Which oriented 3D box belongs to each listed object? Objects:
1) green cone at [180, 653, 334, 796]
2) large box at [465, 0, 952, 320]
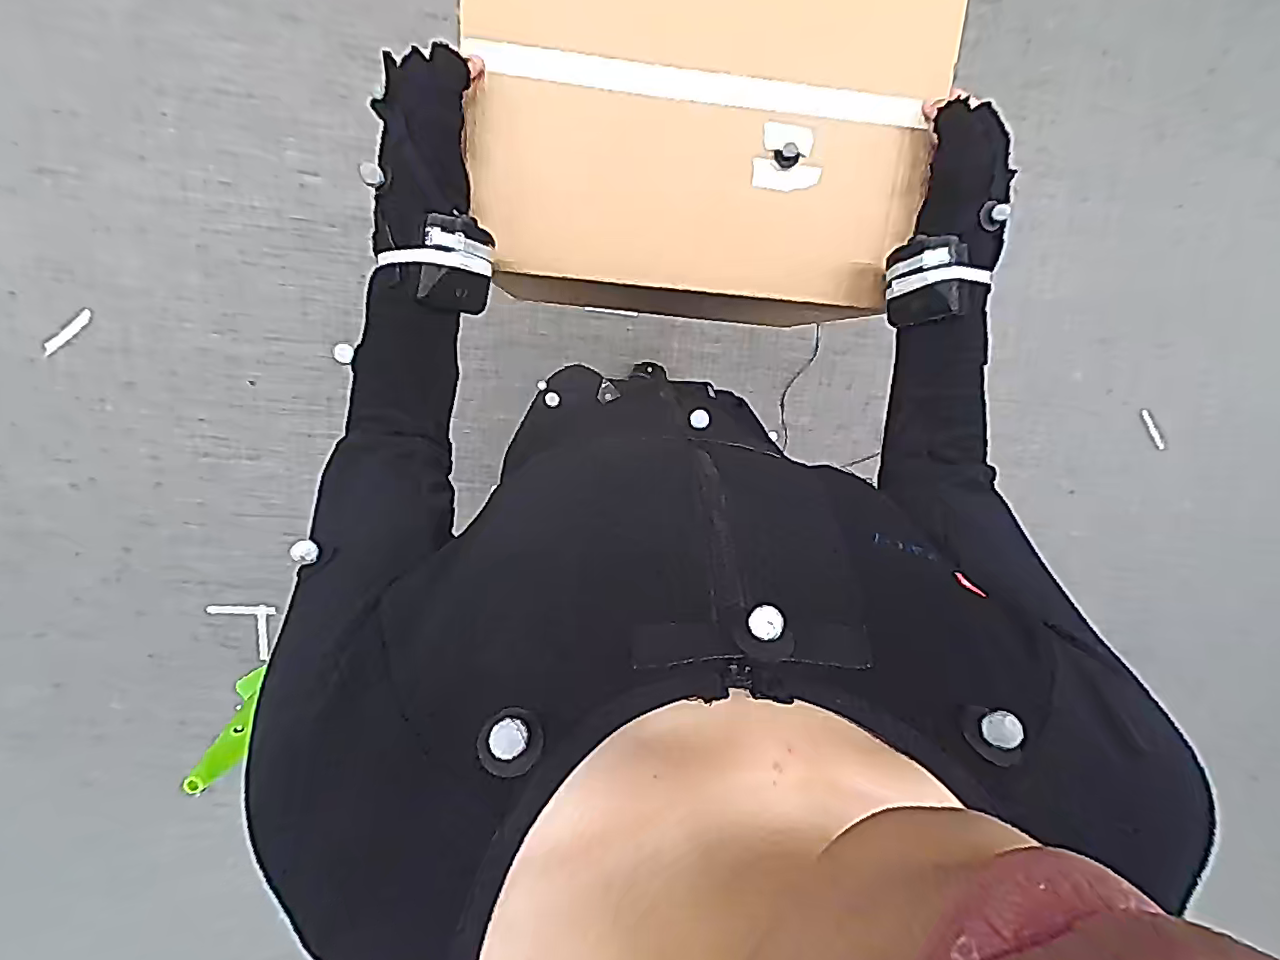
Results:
[{"bbox_3d":[-0.971,0.624,1.331,0.202,0.368,0.200,-32,99,3],"label":"green cone"},{"bbox_3d":[0.042,-0.358,0.593,0.408,0.320,0.320,3,103,-6],"label":"large box"}]
